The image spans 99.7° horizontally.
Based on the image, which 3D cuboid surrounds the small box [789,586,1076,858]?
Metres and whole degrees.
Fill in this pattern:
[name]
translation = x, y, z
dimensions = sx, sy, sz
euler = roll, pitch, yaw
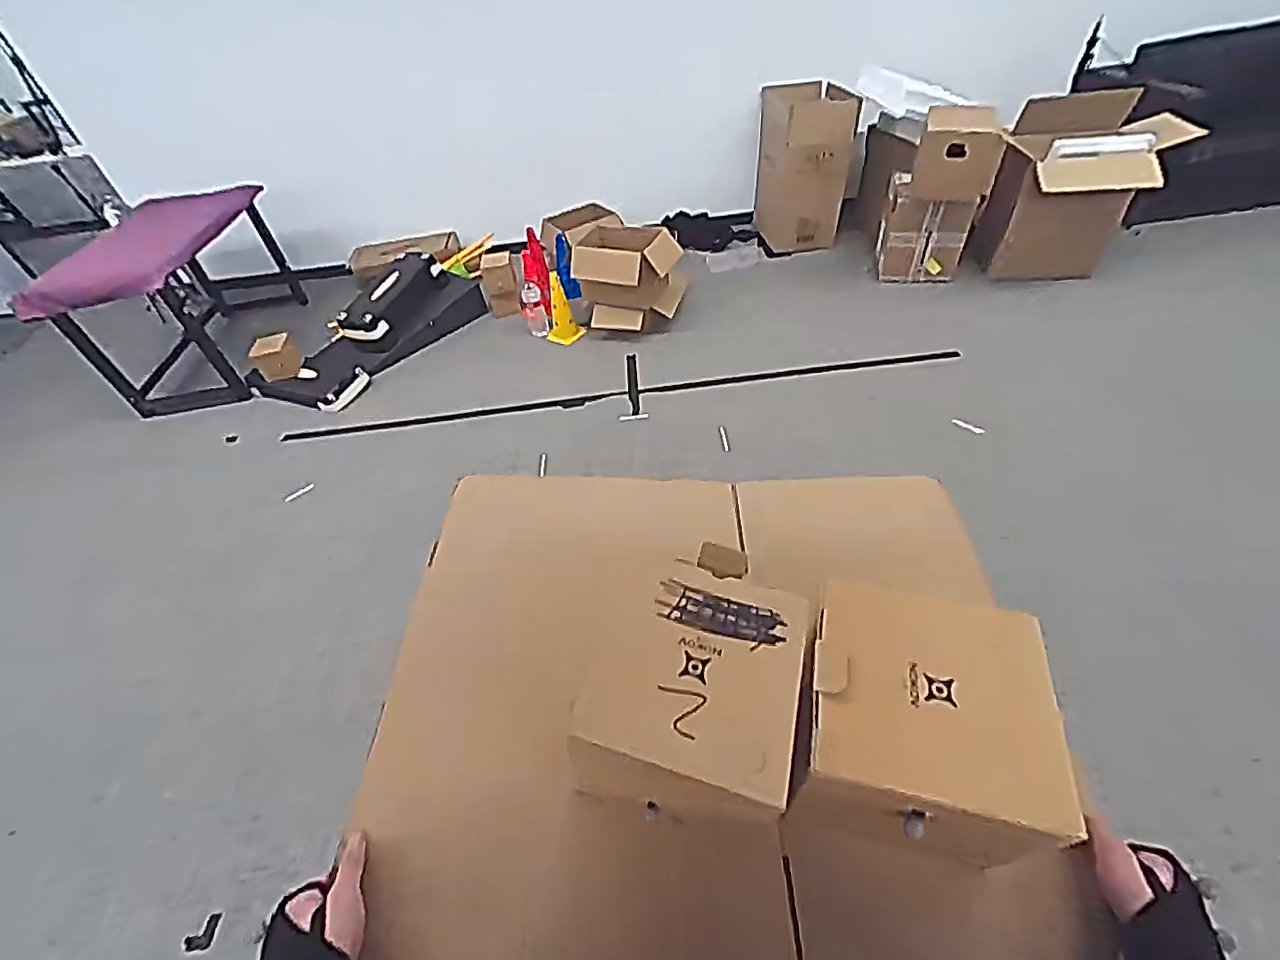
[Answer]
[small box]
translation = 0.241, 0.223, 0.495
dimensions = 0.179, 0.176, 0.168
euler = 8, 49, 14
